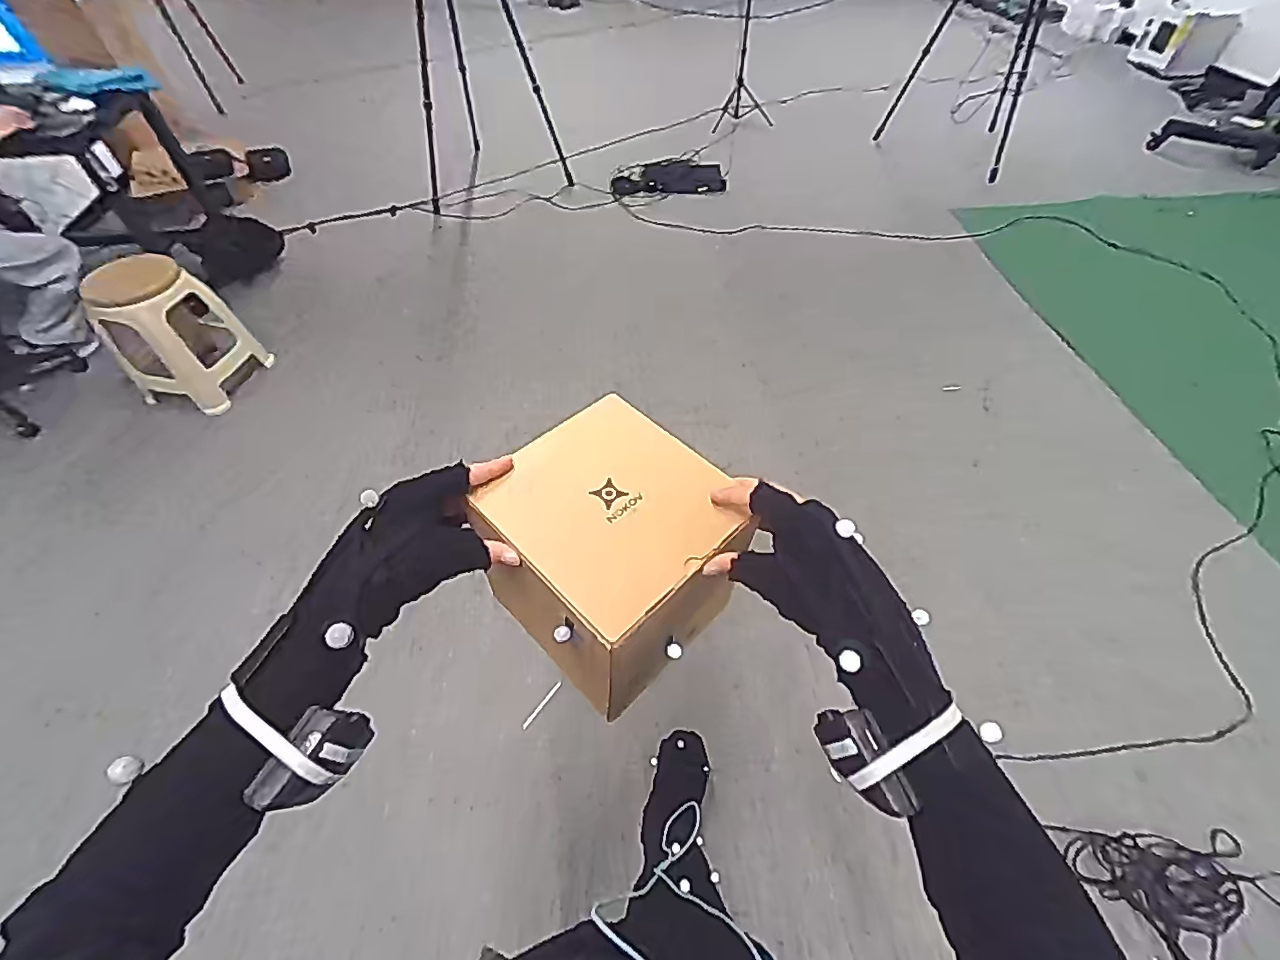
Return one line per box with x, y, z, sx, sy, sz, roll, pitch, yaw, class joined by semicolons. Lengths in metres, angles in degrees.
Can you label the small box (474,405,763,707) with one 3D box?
-0.023;0.069;0.491;0.168;0.176;0.179;-36;62;-29;small box
